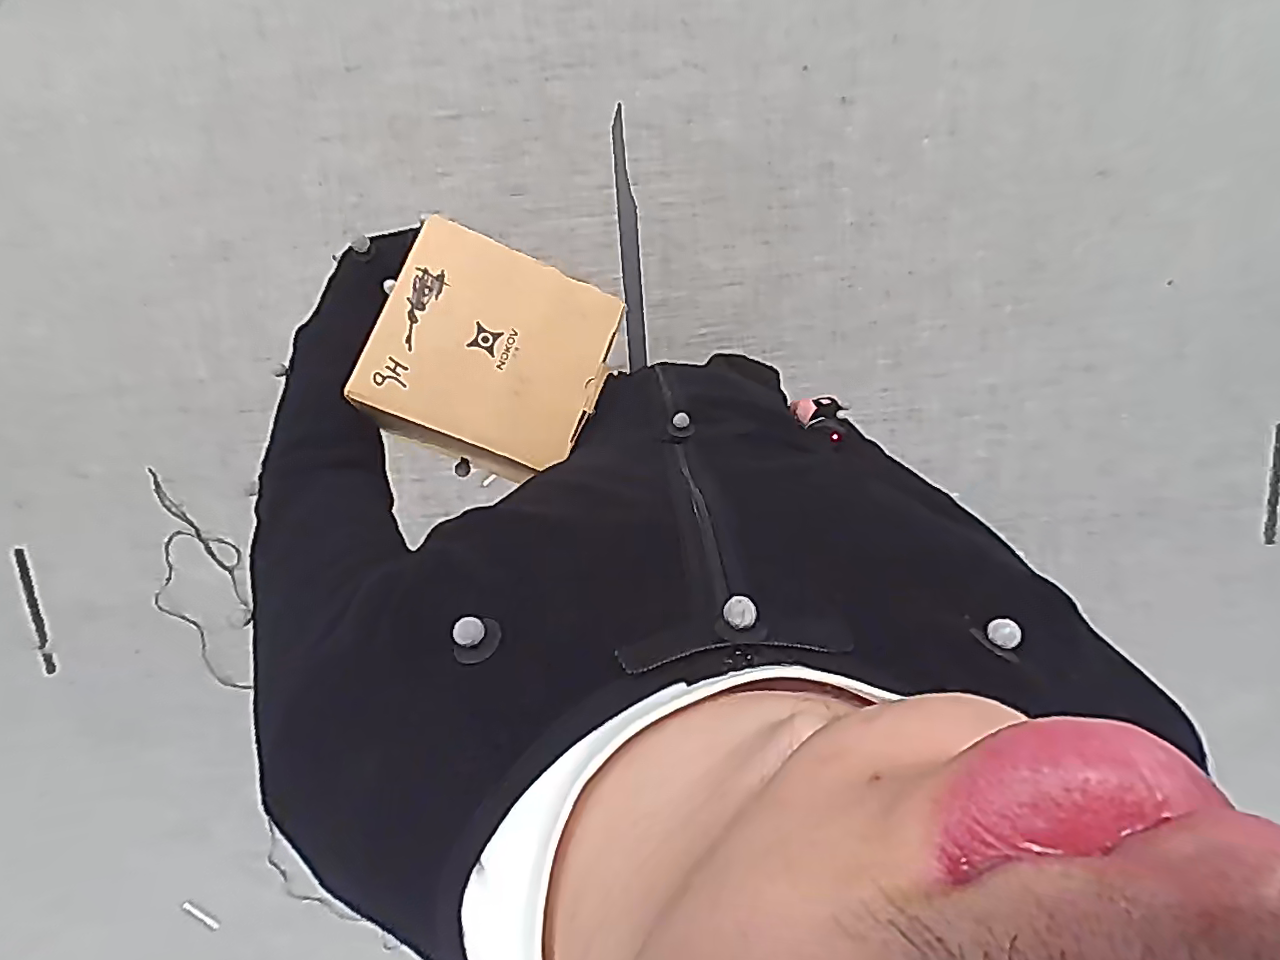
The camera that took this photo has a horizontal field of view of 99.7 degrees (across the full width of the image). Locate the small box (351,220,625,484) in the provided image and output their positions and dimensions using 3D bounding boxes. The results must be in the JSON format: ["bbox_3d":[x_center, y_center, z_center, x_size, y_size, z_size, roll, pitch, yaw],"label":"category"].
[{"bbox_3d":[-0.138,-0.101,0.521,0.179,0.176,0.168,22,79,-12],"label":"small box"}]
